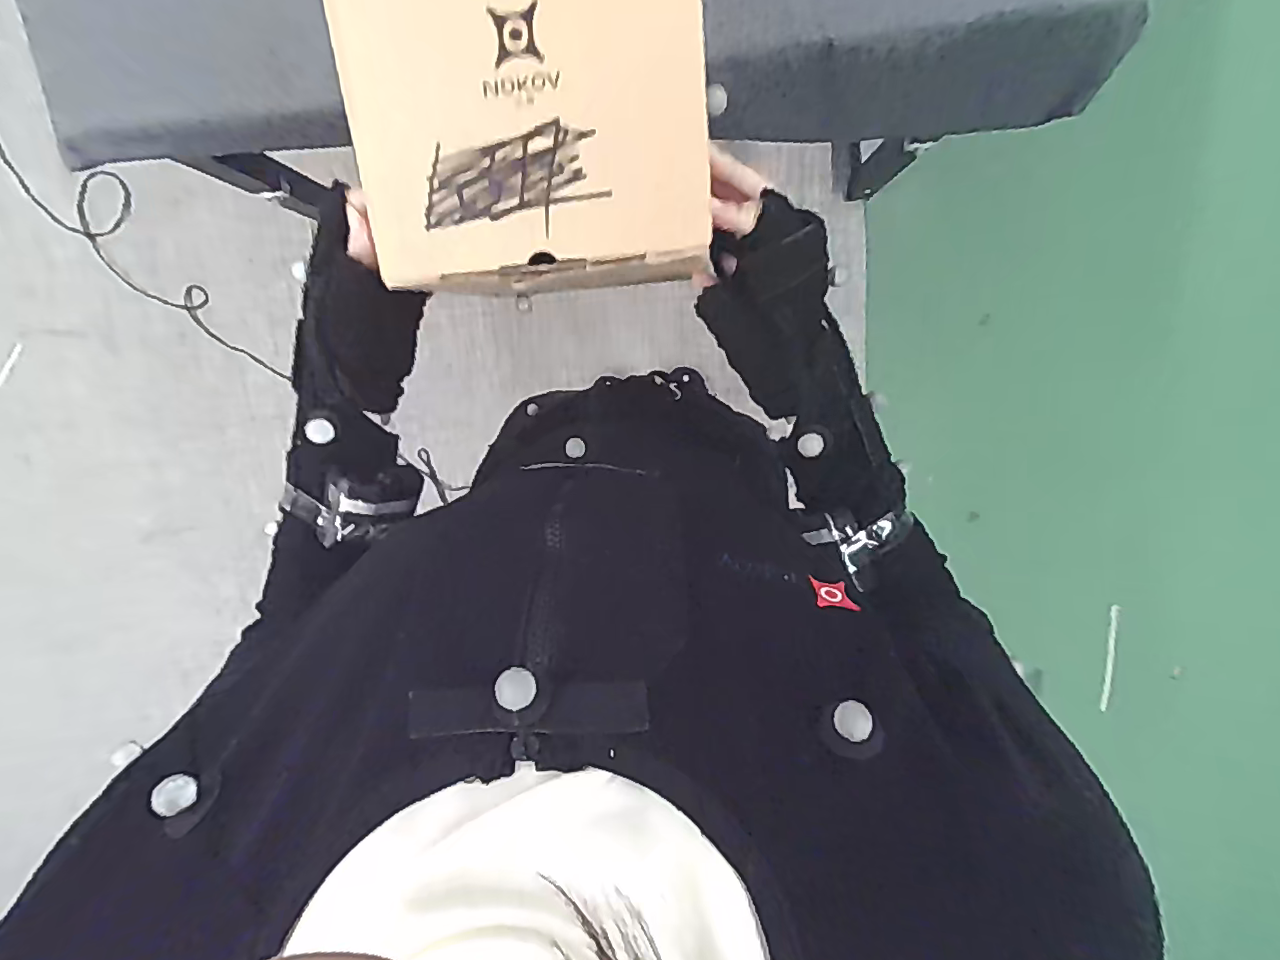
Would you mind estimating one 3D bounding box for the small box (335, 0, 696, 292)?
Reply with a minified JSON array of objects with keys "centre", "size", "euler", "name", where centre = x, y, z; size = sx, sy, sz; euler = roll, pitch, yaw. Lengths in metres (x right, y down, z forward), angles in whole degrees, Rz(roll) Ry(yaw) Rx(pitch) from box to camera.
[{"centre":[-0.050,-0.212,0.328],"size":[0.168,0.176,0.179],"euler":[-2,105,5],"name":"small box"}]
